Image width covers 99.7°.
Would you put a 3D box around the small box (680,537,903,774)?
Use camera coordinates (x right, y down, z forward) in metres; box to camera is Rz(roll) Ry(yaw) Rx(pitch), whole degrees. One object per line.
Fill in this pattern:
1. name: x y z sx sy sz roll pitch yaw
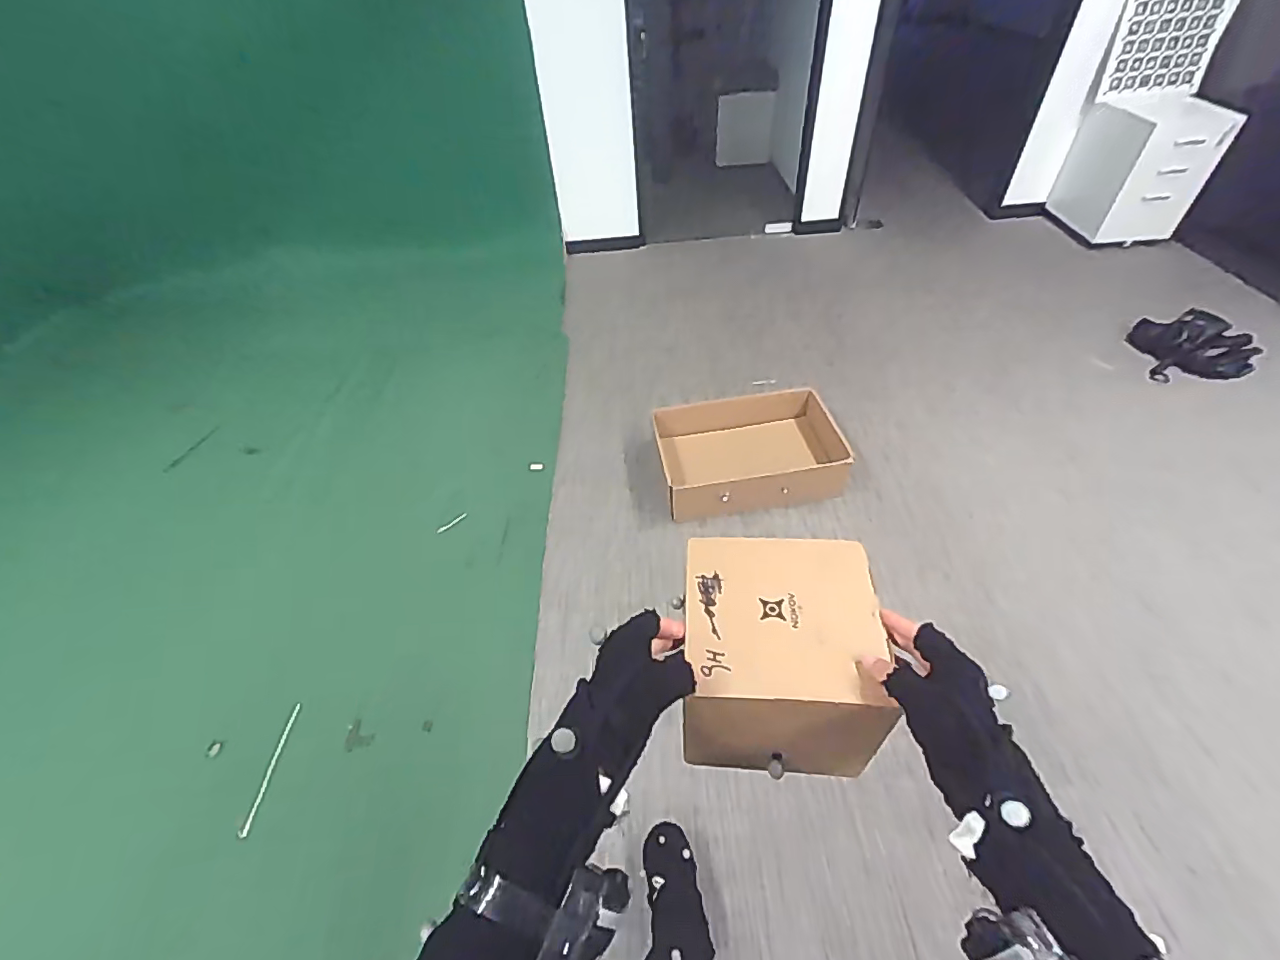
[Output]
1. small box: 0.133 0.178 0.544 0.179 0.176 0.168 2 43 6
